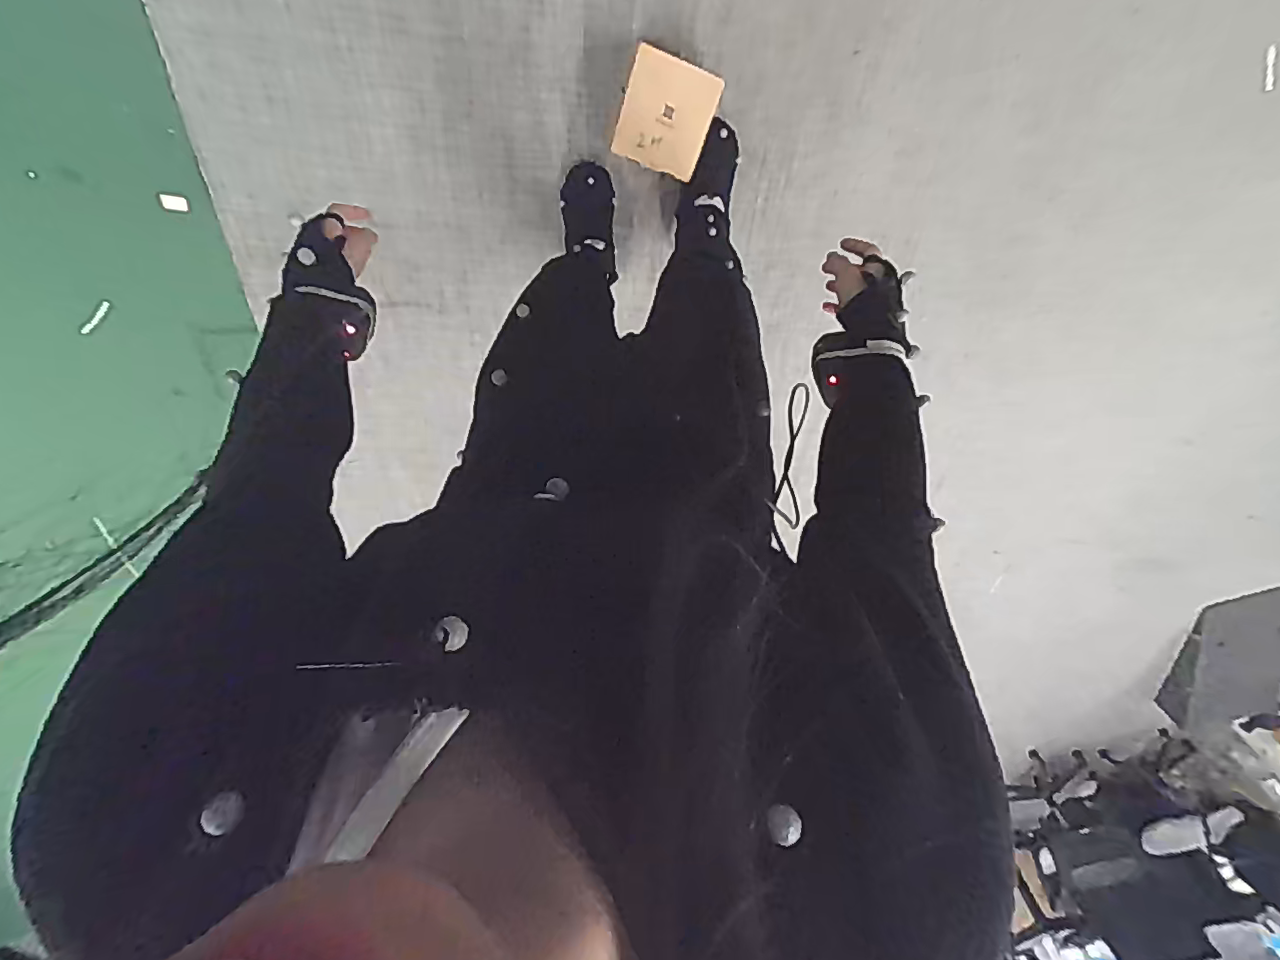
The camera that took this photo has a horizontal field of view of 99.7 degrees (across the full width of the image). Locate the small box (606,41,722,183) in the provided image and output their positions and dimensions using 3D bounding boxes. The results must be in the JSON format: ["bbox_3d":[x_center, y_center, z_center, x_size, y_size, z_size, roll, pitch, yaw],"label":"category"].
[{"bbox_3d":[0.035,-0.715,1.052,0.168,0.176,0.179,13,126,-17],"label":"small box"}]
